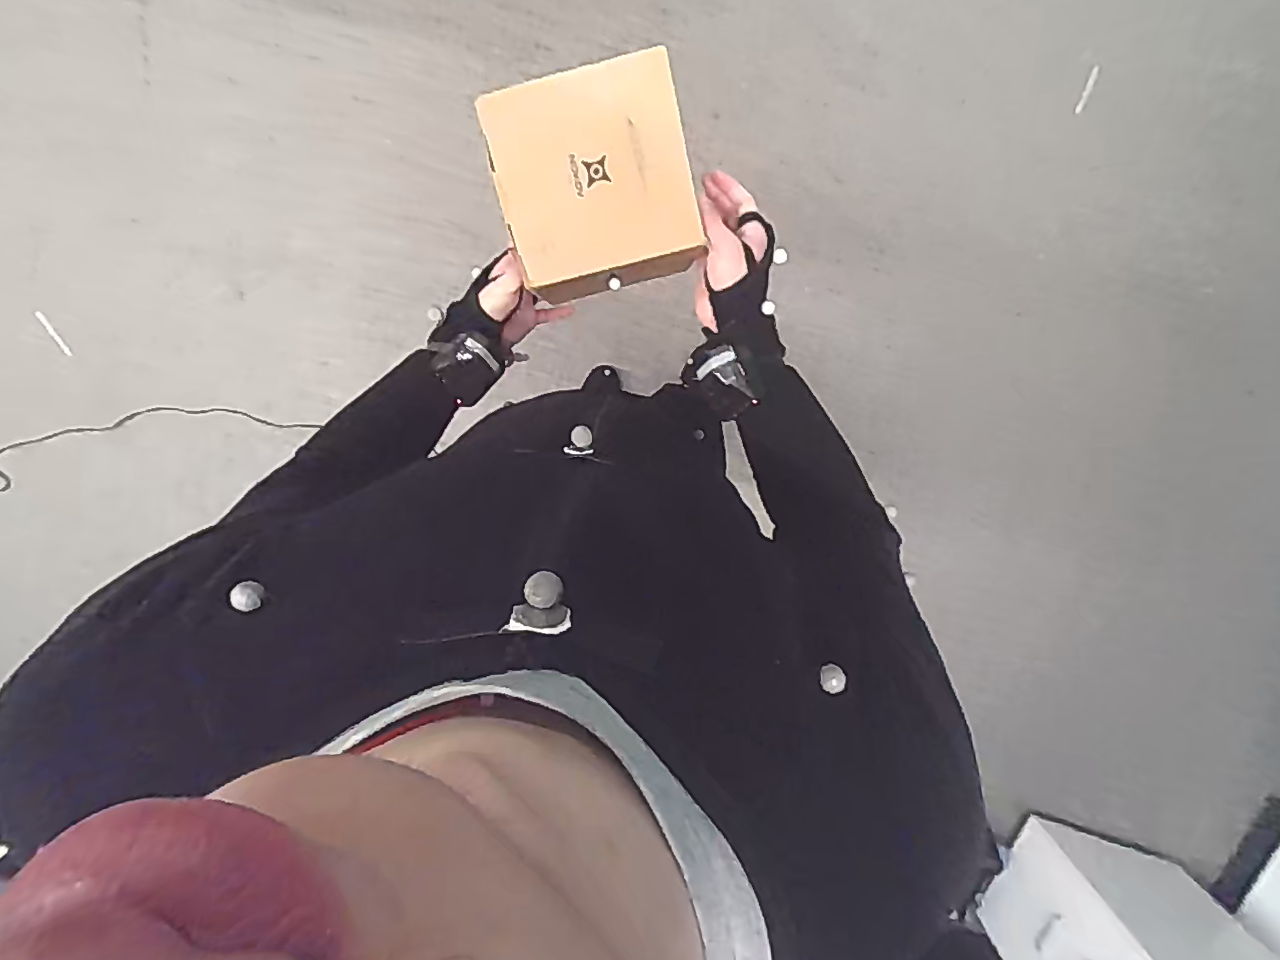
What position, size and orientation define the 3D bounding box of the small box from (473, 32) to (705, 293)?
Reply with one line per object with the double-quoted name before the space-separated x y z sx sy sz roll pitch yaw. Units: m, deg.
"small box" -0.042 -0.299 0.553 0.179 0.176 0.168 -14 104 3
